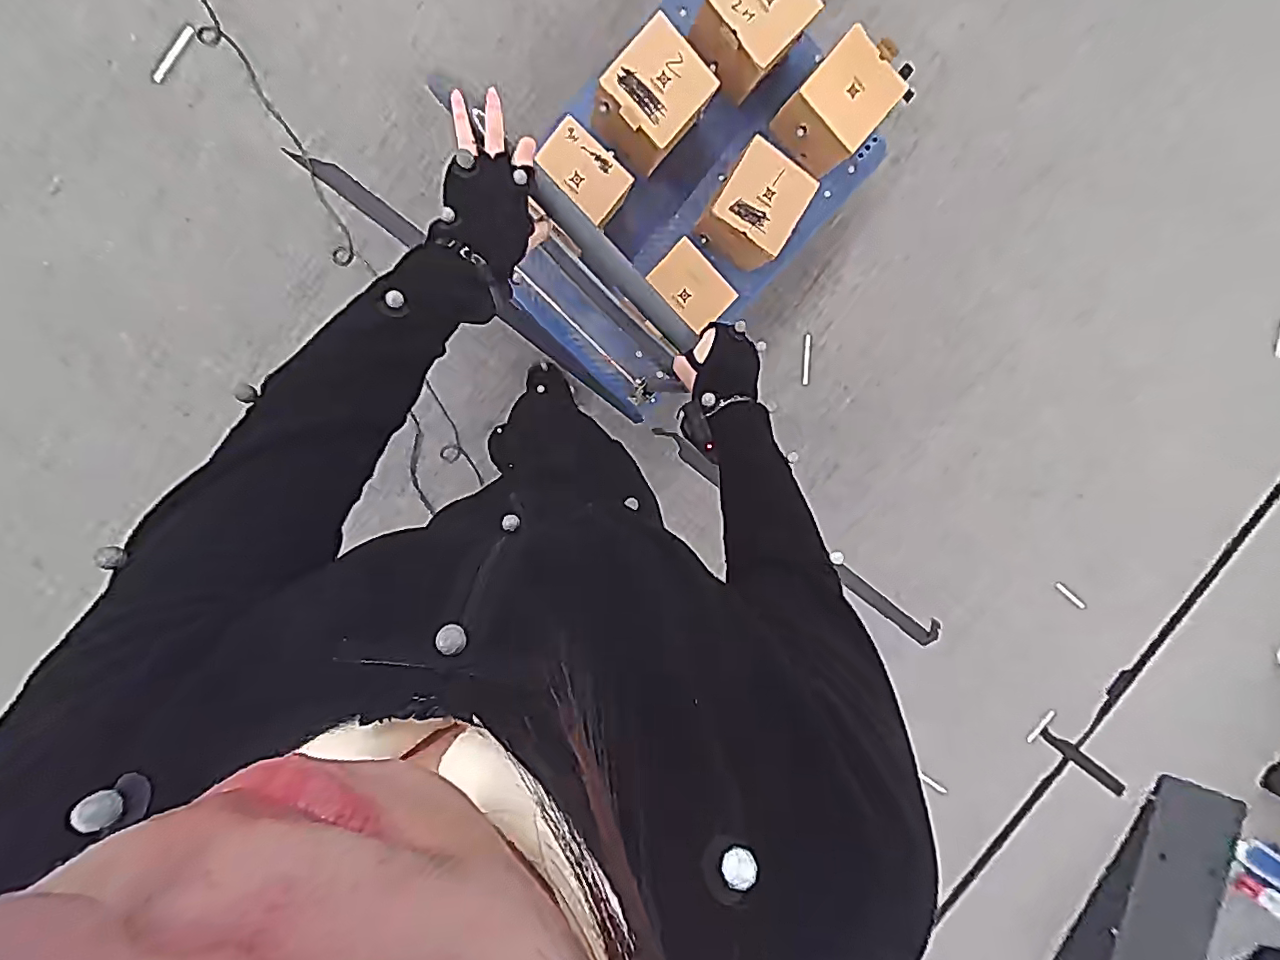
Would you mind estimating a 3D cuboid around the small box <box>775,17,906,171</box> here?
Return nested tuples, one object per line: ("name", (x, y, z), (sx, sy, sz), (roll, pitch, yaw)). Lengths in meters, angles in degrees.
("small box", (0.414, -0.809, 1.159), (0.168, 0.176, 0.179), (40, 92, -14))

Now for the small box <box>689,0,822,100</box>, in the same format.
("small box", (0.224, -0.935, 1.099), (0.179, 0.176, 0.168), (-45, 105, 2))

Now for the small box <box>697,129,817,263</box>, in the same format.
("small box", (0.240, -0.599, 1.171), (0.168, 0.176, 0.179), (30, 94, -14))

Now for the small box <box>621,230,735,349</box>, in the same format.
("small box", (0.072, -0.403, 1.185), (0.168, 0.176, 0.179), (43, 91, -16))

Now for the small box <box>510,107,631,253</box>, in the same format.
("small box", (-0.142, -0.595, 1.104), (0.168, 0.176, 0.179), (39, 93, -16))
